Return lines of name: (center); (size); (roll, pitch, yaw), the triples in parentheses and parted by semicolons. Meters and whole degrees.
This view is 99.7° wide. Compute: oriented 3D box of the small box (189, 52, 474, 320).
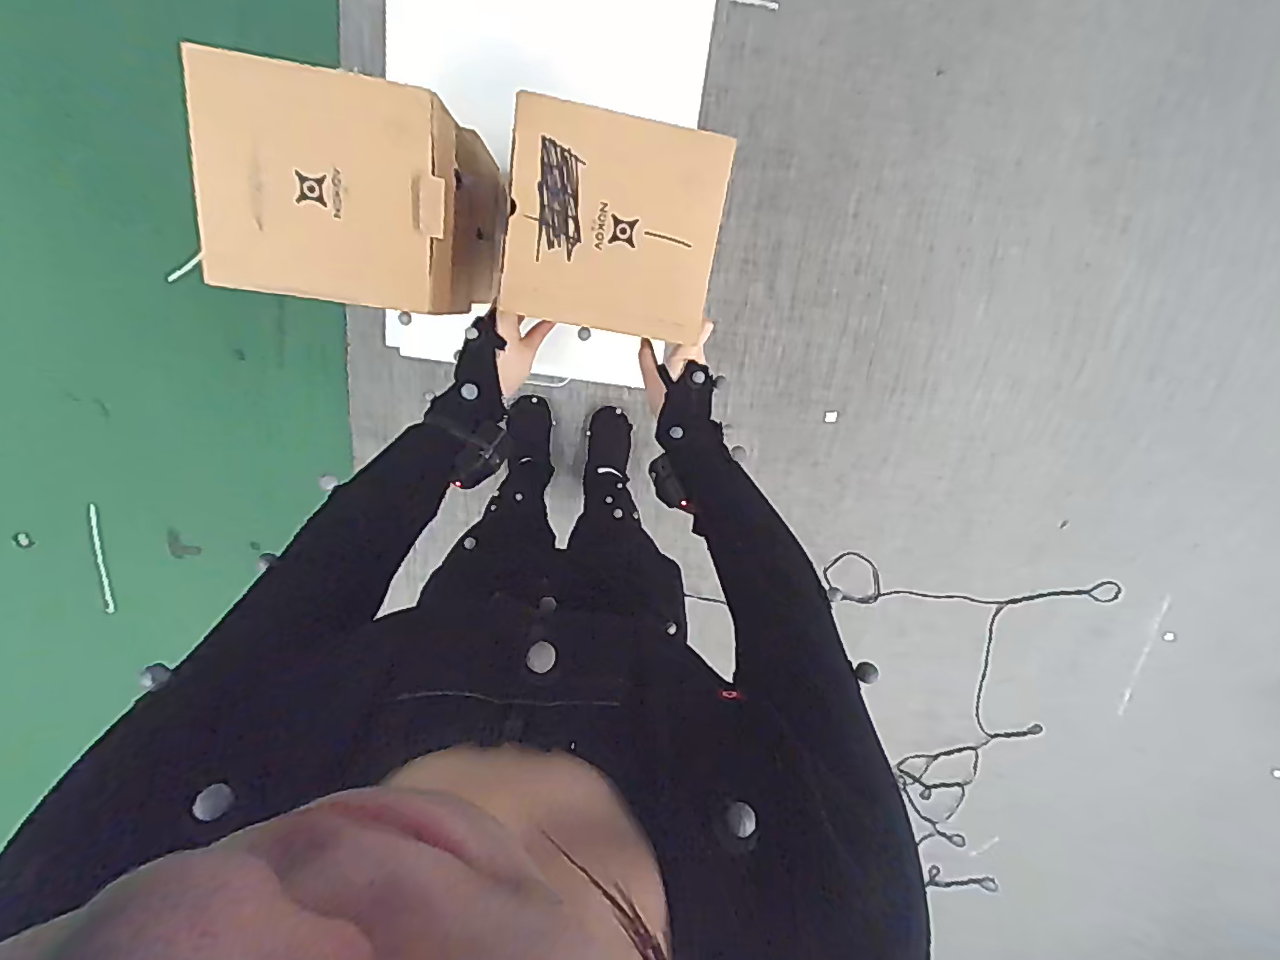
small box: (-0.256, -0.244, 0.496); (0.179, 0.176, 0.168); (6, 106, -7)

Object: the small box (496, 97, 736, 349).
small box: (-0.028, -0.227, 0.521); (0.179, 0.176, 0.168); (9, 106, -7)

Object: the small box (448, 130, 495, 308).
small box: (-0.271, -0.308, 0.645); (0.168, 0.176, 0.179); (6, 107, -9)
